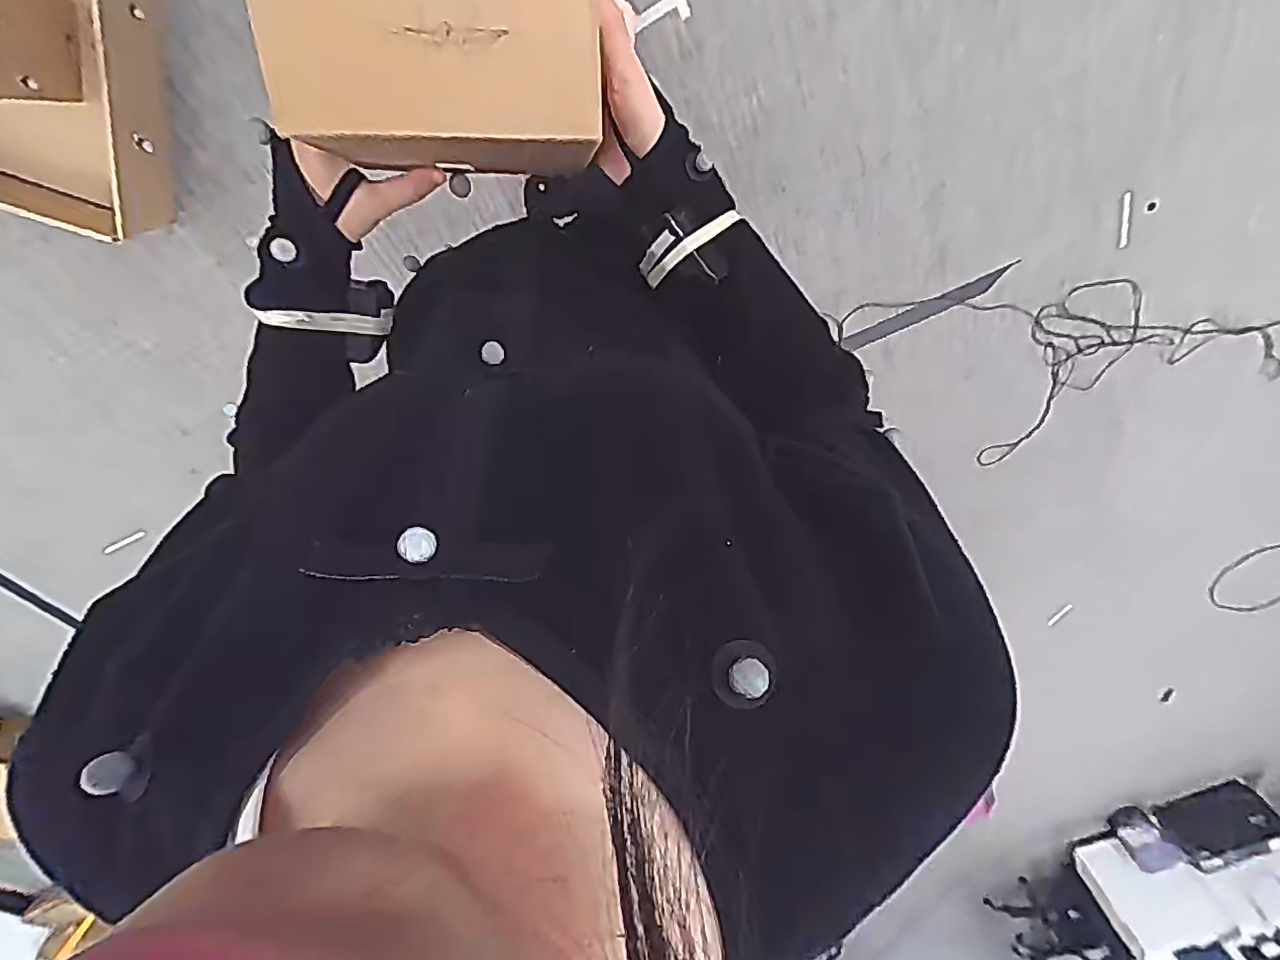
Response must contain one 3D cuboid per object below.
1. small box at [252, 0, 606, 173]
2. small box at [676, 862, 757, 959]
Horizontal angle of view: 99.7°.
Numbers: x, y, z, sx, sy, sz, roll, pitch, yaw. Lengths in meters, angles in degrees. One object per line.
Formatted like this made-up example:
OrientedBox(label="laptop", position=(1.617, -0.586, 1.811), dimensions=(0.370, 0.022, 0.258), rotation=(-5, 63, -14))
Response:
OrientedBox(label="small box", position=(-0.112, -0.294, 0.319), dimensions=(0.168, 0.176, 0.179), rotation=(-4, 114, -8))
OrientedBox(label="small box", position=(0.216, 1.243, 1.561), dimensions=(0.168, 0.176, 0.179), rotation=(-24, 122, 8))
